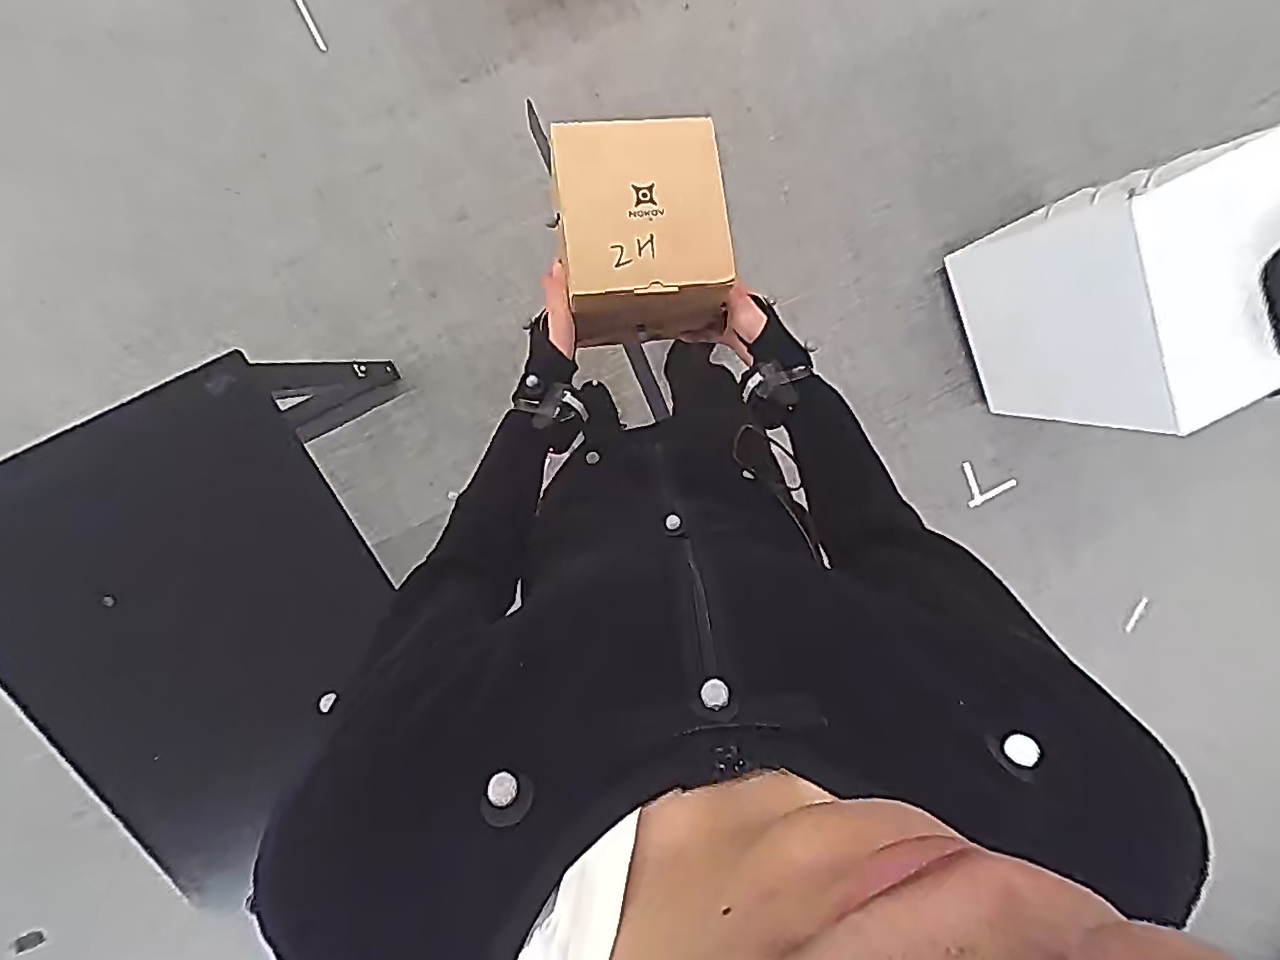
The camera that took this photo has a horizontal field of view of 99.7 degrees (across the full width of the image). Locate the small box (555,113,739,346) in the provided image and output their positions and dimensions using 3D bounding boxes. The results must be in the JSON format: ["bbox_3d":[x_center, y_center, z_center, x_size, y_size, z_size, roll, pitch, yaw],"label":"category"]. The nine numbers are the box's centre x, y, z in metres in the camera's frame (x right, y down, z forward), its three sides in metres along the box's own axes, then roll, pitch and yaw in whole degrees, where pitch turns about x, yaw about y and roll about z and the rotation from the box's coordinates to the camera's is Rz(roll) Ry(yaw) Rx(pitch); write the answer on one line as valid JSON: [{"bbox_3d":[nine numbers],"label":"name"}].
[{"bbox_3d":[-0.003,-0.265,0.600,0.168,0.176,0.179,-7,87,-7],"label":"small box"}]
